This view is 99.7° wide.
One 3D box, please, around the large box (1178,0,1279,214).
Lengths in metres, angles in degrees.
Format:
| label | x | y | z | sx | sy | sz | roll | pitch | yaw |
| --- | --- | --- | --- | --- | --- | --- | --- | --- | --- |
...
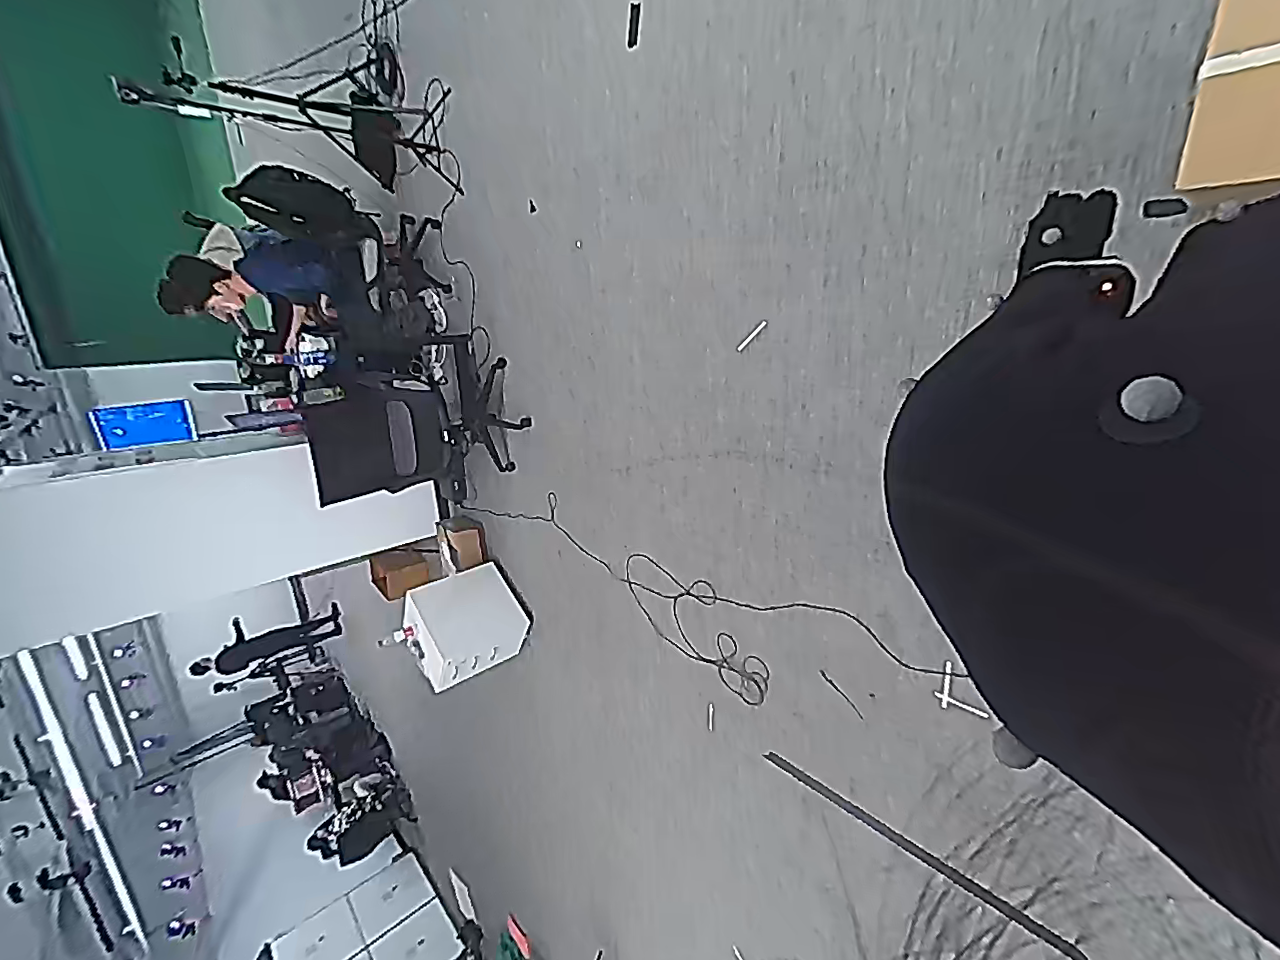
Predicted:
| label | x | y | z | sx | sy | sz | roll | pitch | yaw |
| --- | --- | --- | --- | --- | --- | --- | --- | --- | --- |
| large box | 1.049 | -0.574 | 0.733 | 0.408 | 0.320 | 0.320 | 16 | 115 | 44 |
